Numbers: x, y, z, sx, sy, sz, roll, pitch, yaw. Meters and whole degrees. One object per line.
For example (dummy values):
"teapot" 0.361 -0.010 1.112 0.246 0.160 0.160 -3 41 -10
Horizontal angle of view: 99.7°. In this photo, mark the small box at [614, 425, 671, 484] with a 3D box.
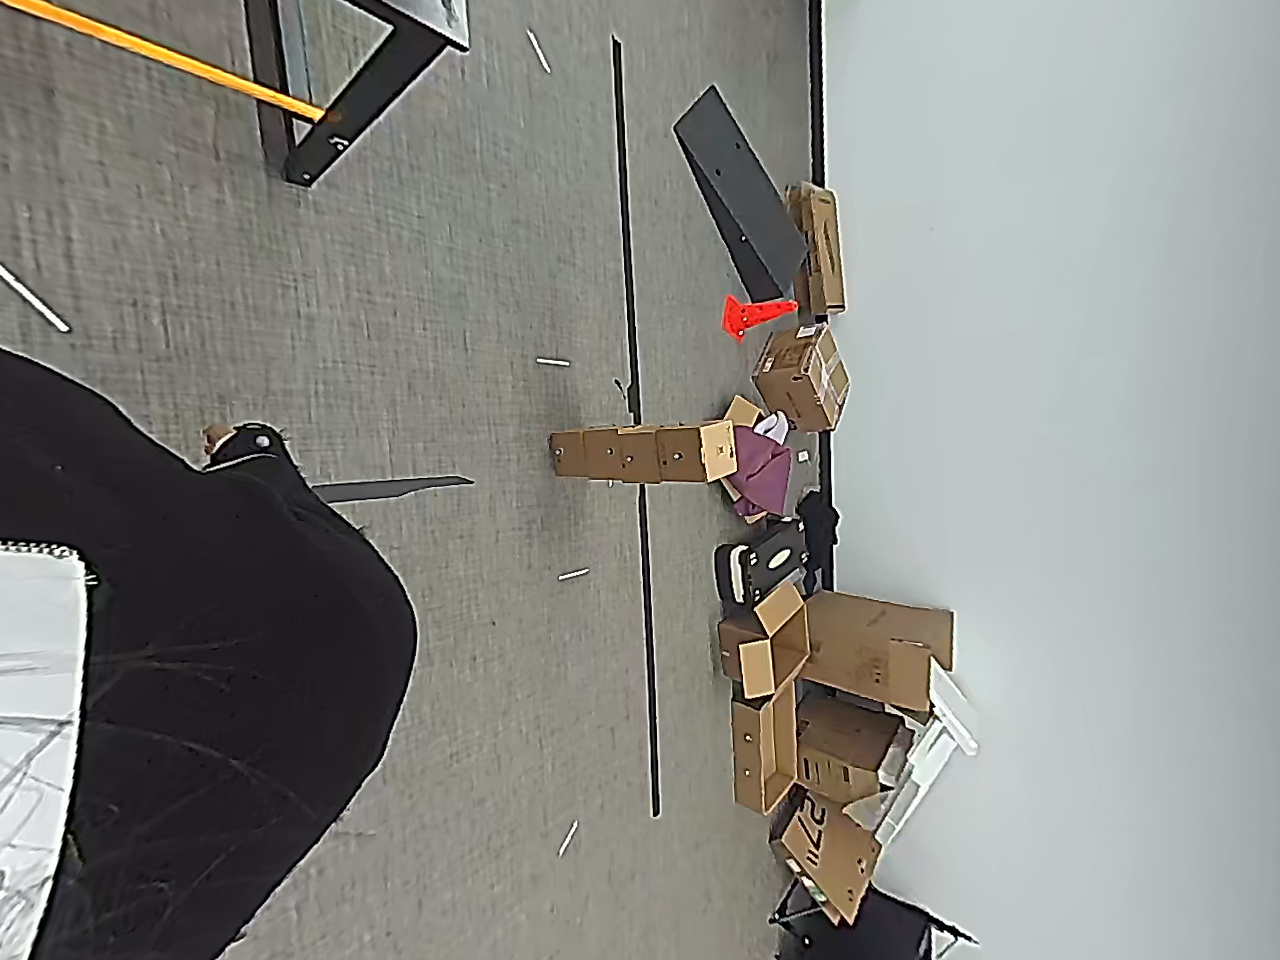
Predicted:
"small box" 0.041 -0.088 1.771 0.179 0.176 0.168 -20 105 -47

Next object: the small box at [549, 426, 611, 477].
"small box" -0.207 -0.107 1.987 0.179 0.176 0.168 -17 103 -46

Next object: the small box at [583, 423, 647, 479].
"small box" -0.081 -0.100 1.881 0.168 0.176 0.179 -14 102 -48

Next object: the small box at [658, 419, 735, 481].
"small box" 0.168 -0.090 1.667 0.179 0.176 0.168 -18 104 -47
